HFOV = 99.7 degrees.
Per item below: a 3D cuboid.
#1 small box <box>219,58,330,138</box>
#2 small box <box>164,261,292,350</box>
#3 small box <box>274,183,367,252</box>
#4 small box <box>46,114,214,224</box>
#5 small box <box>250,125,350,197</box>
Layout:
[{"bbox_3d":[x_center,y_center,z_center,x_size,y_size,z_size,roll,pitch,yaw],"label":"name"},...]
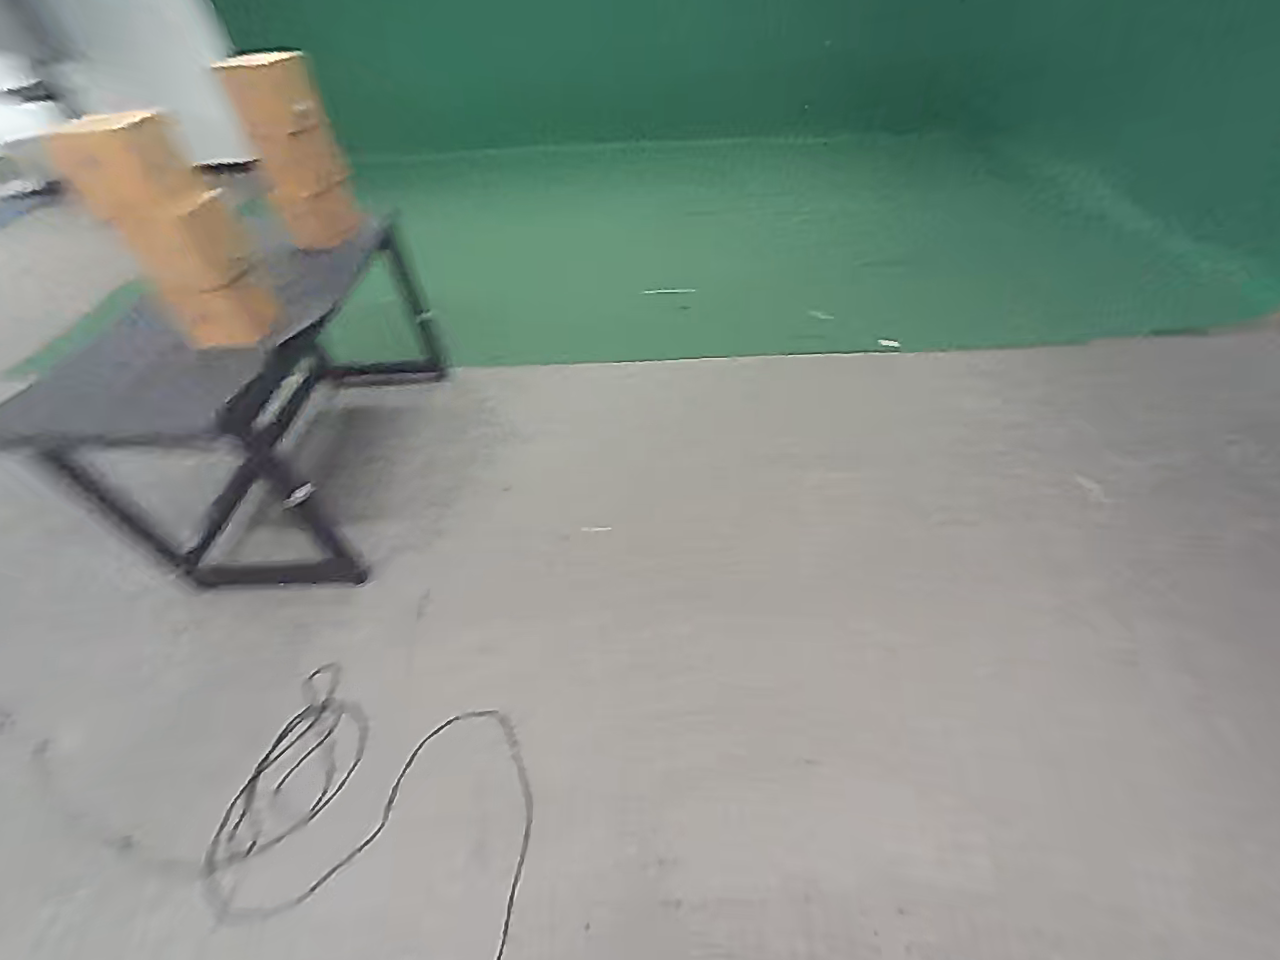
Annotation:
[{"bbox_3d":[-1.076,-1.133,1.608,0.179,0.176,0.168,5,47,9],"label":"small box"},{"bbox_3d":[-1.081,-0.460,1.436,0.179,0.176,0.168,-3,47,3],"label":"small box"},{"bbox_3d":[-1.071,-0.891,1.829,0.179,0.176,0.168,12,49,18],"label":"small box"},{"bbox_3d":[-1.111,-0.687,1.200,0.179,0.176,0.168,-2,47,3],"label":"small box"},{"bbox_3d":[-1.071,-1.015,1.723,0.179,0.176,0.168,8,47,15],"label":"small box"}]
